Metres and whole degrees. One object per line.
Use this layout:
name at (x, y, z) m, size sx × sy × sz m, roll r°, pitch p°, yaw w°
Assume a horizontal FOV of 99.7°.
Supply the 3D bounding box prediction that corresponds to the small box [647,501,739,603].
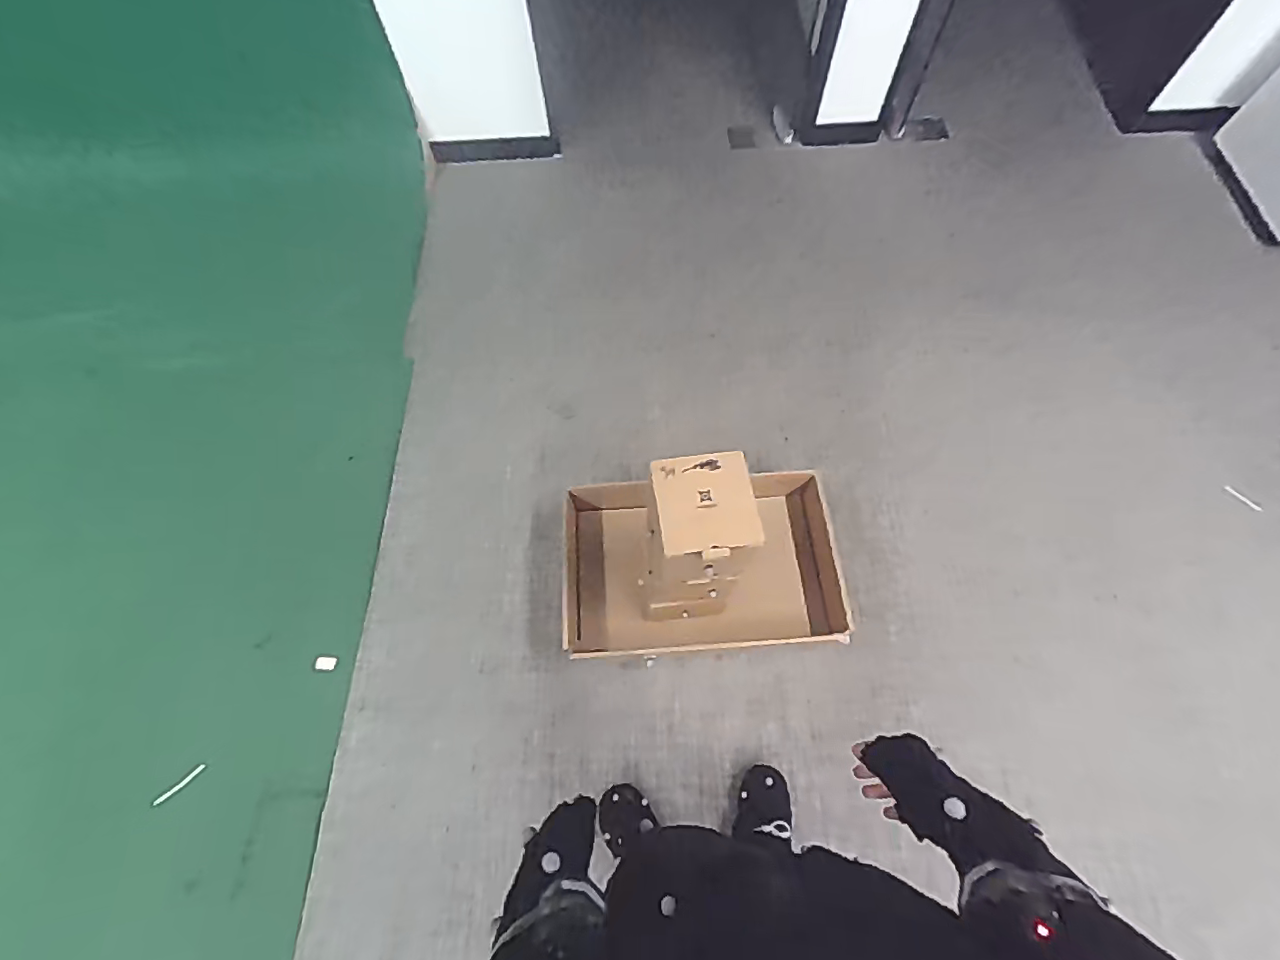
small box at (0.102, 0.150, 1.116) m, size 0.168 × 0.176 × 0.179 m, roll -3°, pitch 63°, yaw -2°

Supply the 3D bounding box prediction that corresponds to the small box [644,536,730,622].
small box at (0.102, 0.227, 1.257) m, size 0.179 × 0.176 × 0.168 m, roll -5°, pitch 64°, yaw 0°

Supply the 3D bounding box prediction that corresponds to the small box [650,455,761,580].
small box at (0.109, 0.075, 0.970) m, size 0.168 × 0.176 × 0.179 m, roll -5°, pitch 65°, yaw -3°
